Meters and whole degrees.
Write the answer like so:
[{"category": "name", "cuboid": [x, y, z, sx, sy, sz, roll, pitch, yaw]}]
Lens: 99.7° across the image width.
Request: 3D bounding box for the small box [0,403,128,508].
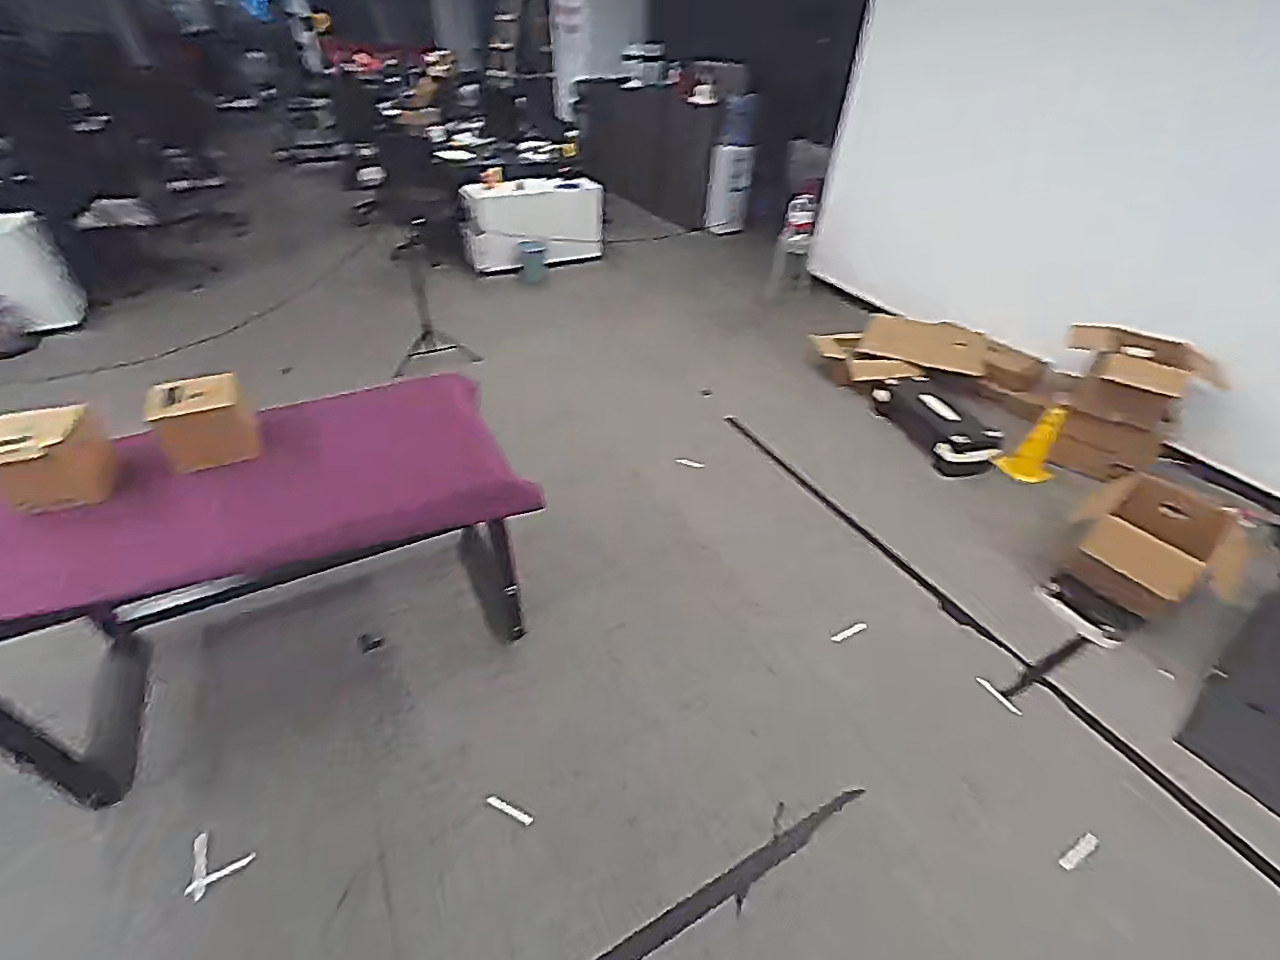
[{"category": "small box", "cuboid": [-1.352, -0.053, 1.258, 0.168, 0.176, 0.179, -13, 43, -19]}]
